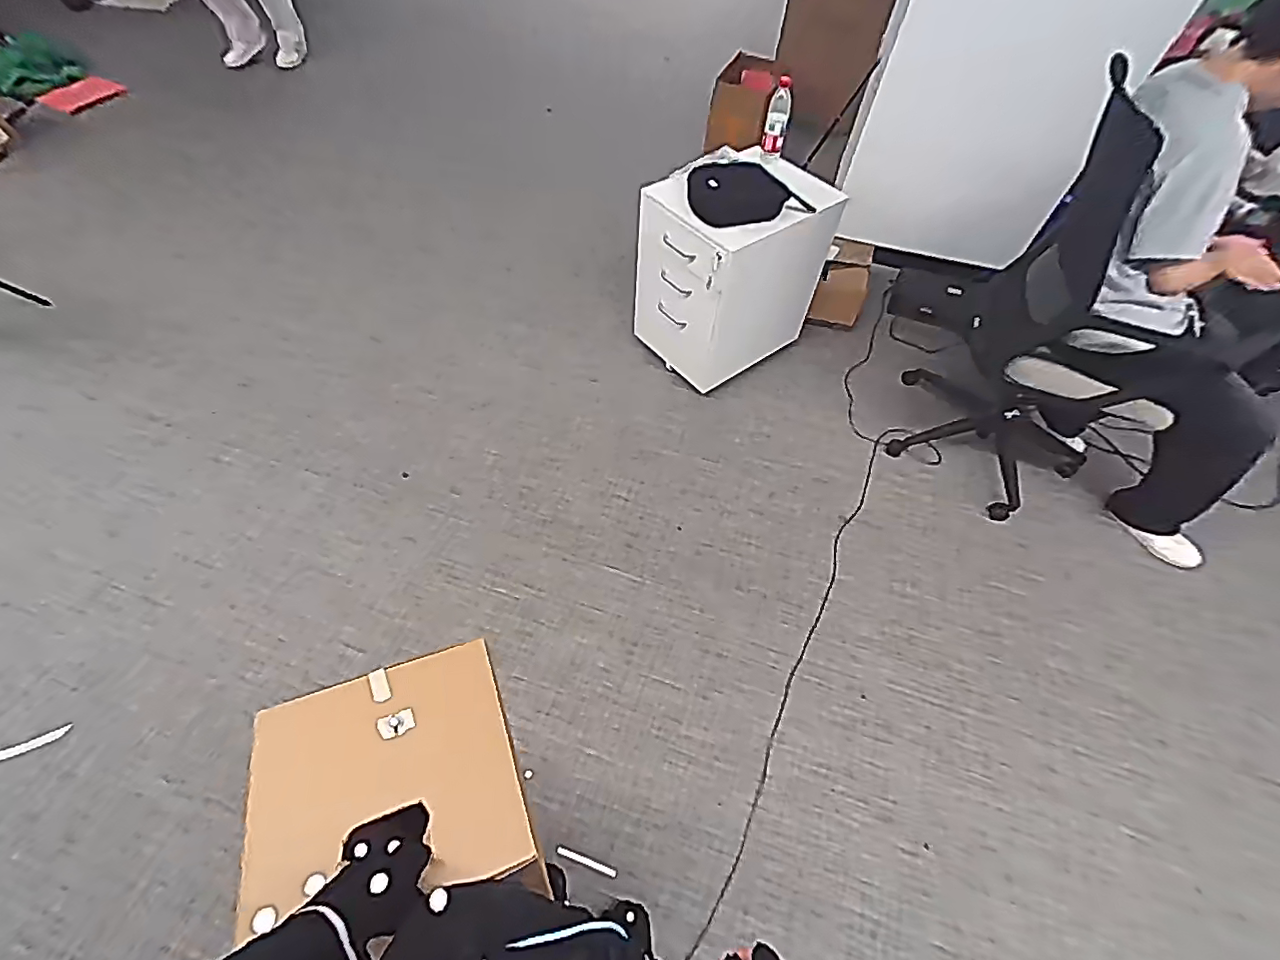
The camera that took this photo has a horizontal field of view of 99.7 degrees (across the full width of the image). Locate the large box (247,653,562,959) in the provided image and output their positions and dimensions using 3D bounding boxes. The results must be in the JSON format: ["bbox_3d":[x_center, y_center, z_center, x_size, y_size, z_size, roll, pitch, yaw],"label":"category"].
[{"bbox_3d":[-0.324,0.532,0.814,0.320,0.408,0.320,-15,46,-18],"label":"large box"}]
